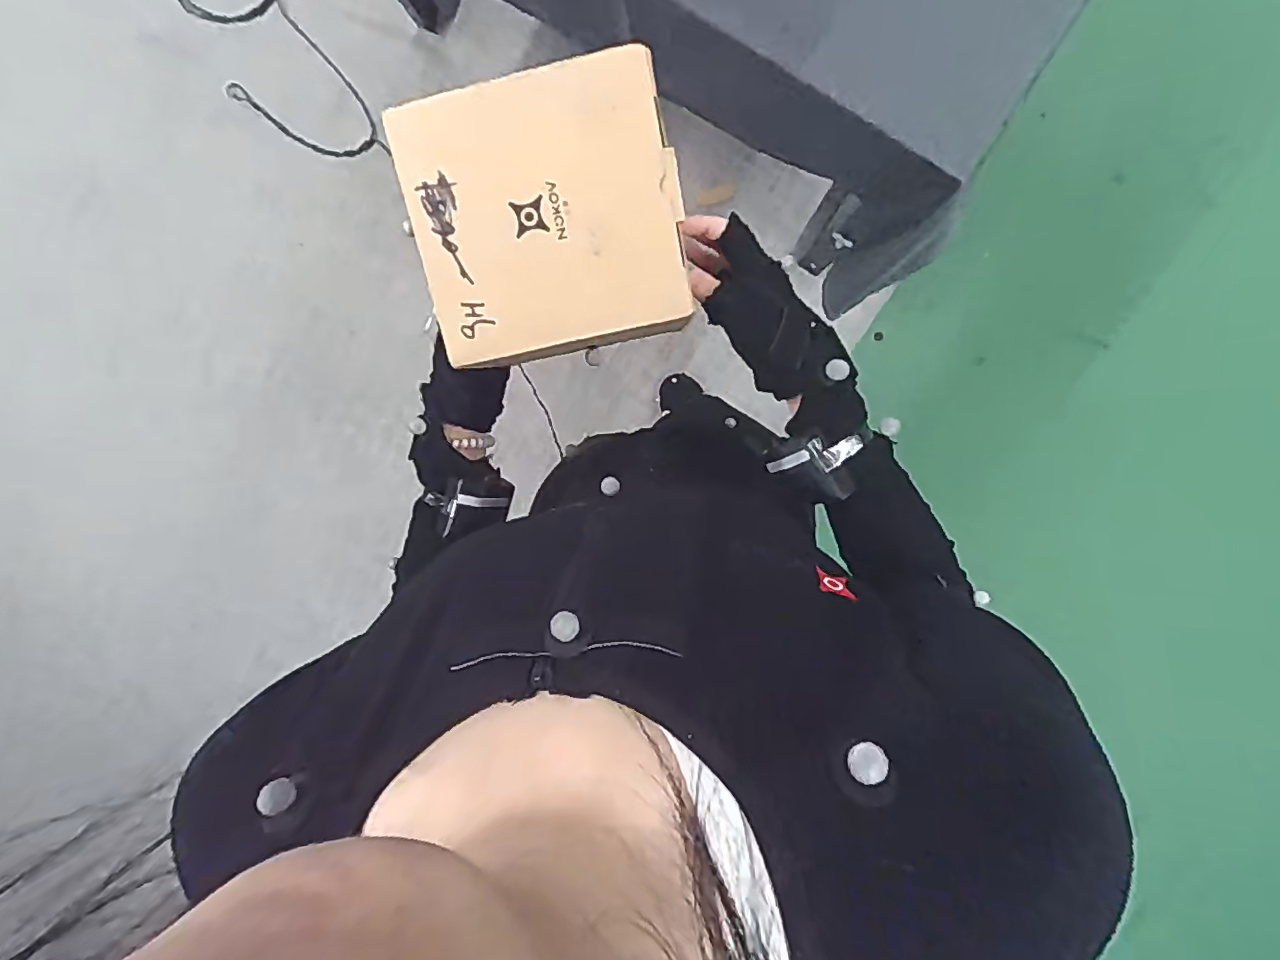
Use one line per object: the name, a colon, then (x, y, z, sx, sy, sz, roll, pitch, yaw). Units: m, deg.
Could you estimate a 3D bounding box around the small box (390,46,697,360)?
small box: (-0.061, -0.195, 0.436, 0.179, 0.176, 0.168, -11, 101, 3)
